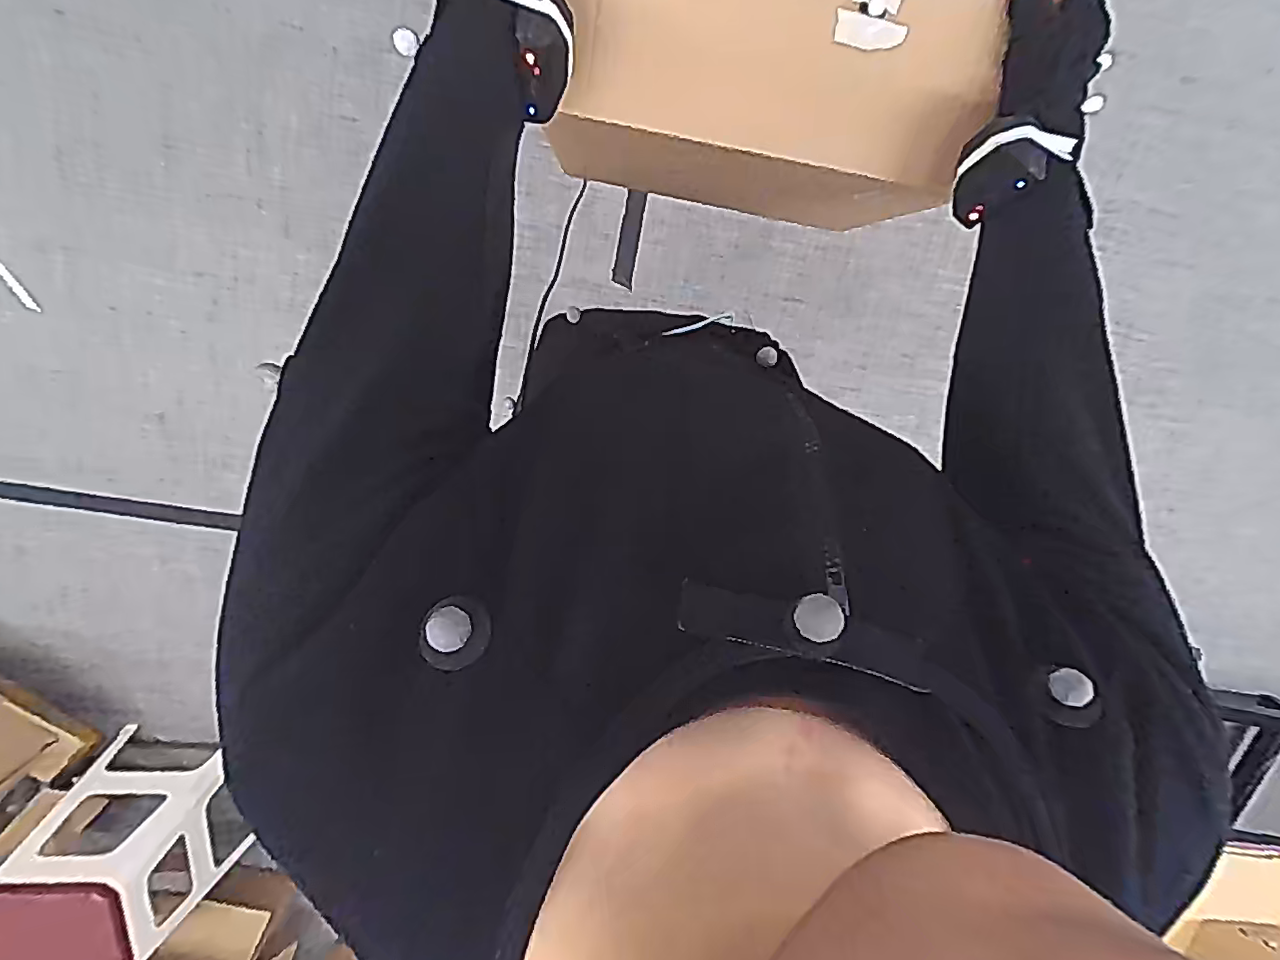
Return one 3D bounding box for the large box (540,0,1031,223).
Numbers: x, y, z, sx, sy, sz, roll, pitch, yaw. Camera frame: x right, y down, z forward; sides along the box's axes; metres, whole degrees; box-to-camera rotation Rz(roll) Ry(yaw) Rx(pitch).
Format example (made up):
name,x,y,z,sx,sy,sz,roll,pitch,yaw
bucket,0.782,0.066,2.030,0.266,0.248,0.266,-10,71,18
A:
name,x,y,z,sx,sy,sz,roll,pitch,yaw
large box,0.126,-0.486,0.570,0.408,0.320,0.320,9,110,-5
